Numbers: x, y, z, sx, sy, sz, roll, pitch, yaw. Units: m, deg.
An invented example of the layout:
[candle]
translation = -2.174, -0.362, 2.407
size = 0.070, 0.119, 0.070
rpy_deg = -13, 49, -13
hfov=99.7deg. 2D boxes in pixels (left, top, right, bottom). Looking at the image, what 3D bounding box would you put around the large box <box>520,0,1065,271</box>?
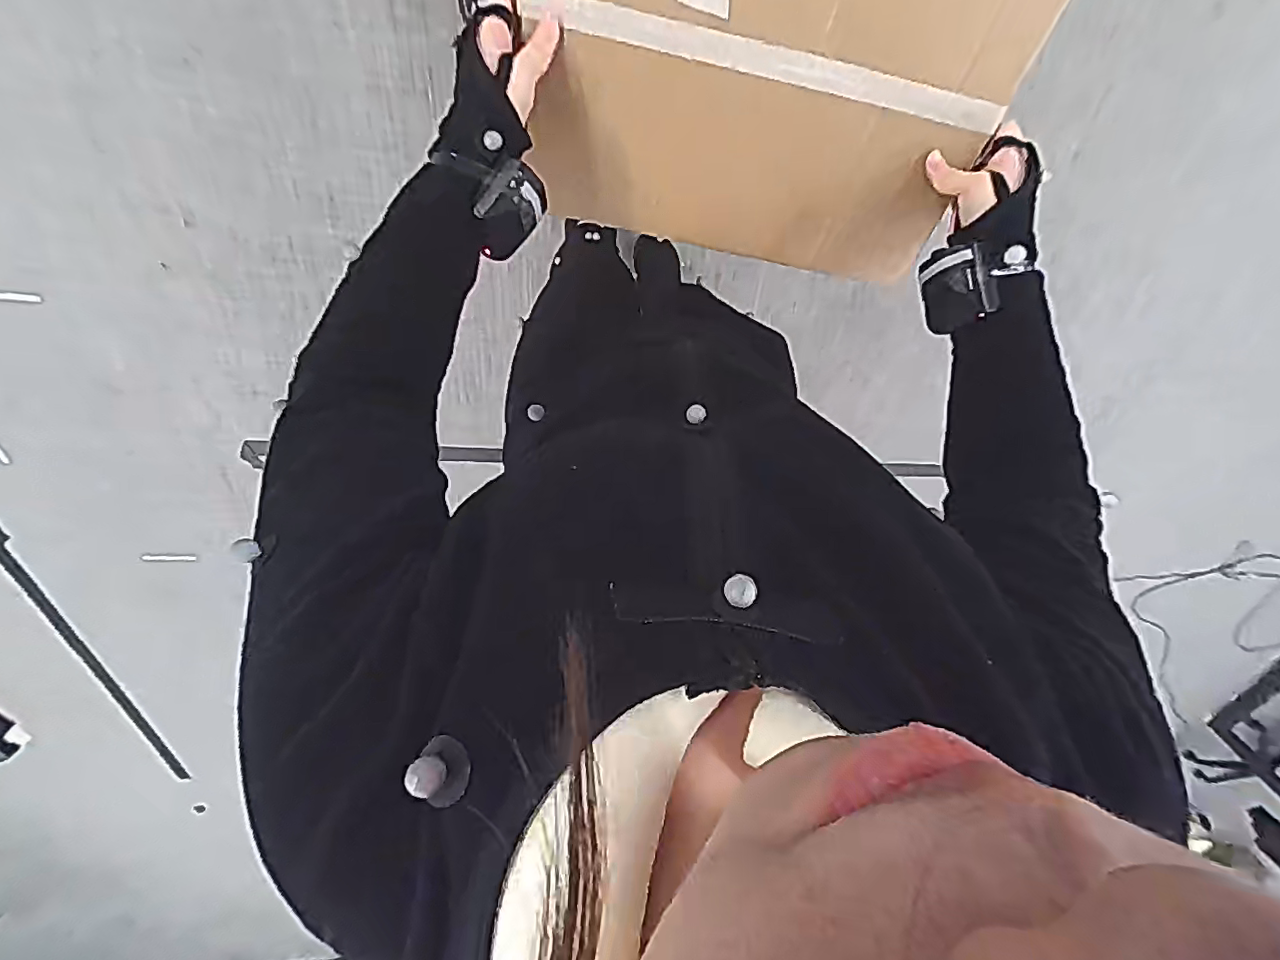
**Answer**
[large box]
translation = 0.116, -0.453, 0.527
size = 0.408, 0.320, 0.320
rpy_deg = 10, 137, -6
